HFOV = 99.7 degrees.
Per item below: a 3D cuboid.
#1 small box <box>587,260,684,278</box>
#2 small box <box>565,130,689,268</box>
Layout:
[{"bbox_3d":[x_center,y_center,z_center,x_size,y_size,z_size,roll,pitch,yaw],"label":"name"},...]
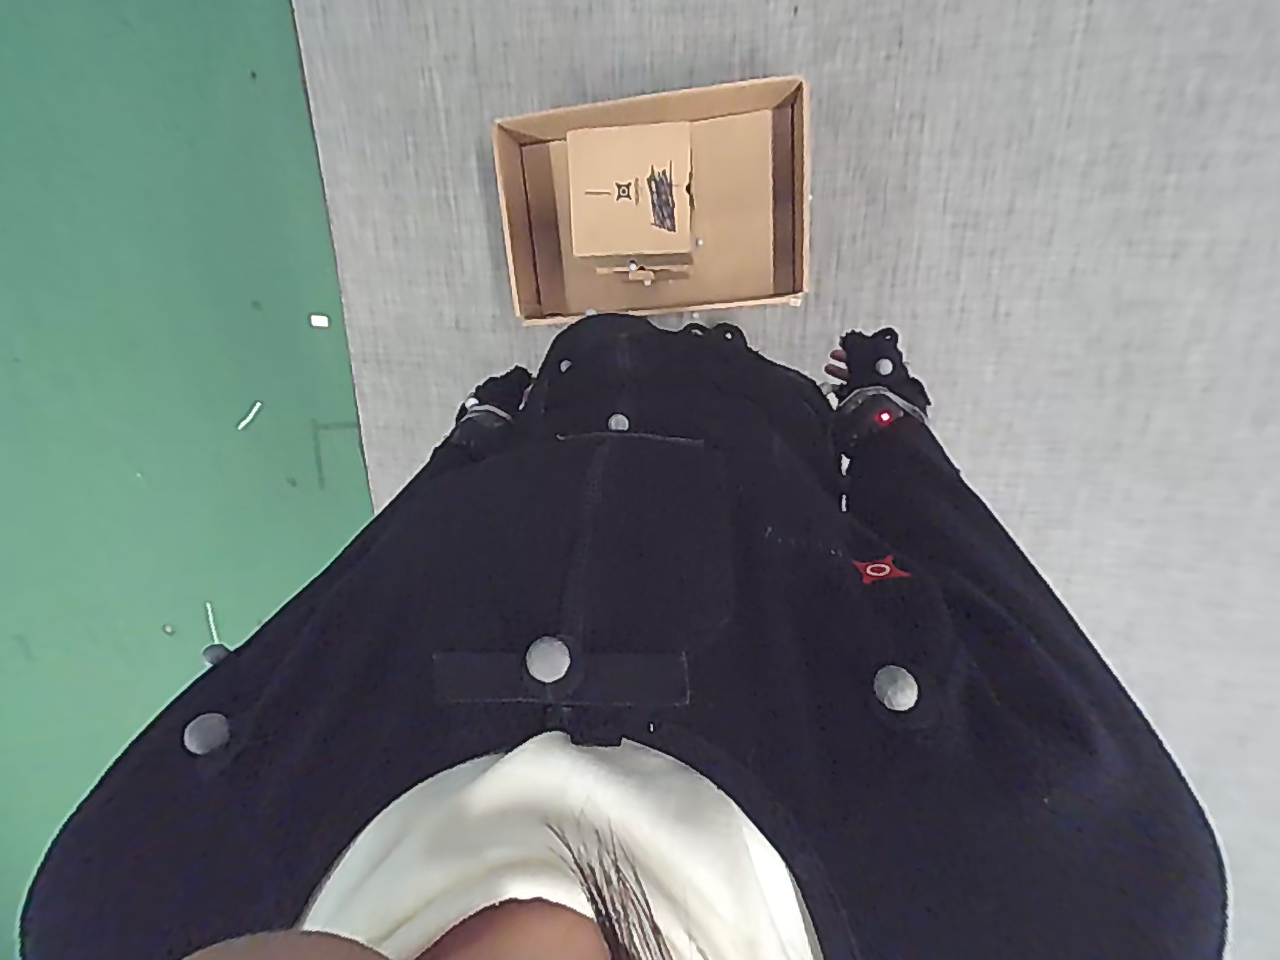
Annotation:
[{"bbox_3d":[-0.003,-0.469,0.997,0.168,0.176,0.179,1,107,6],"label":"small box"},{"bbox_3d":[-0.012,-0.432,0.854,0.179,0.176,0.168,2,105,7],"label":"small box"}]
